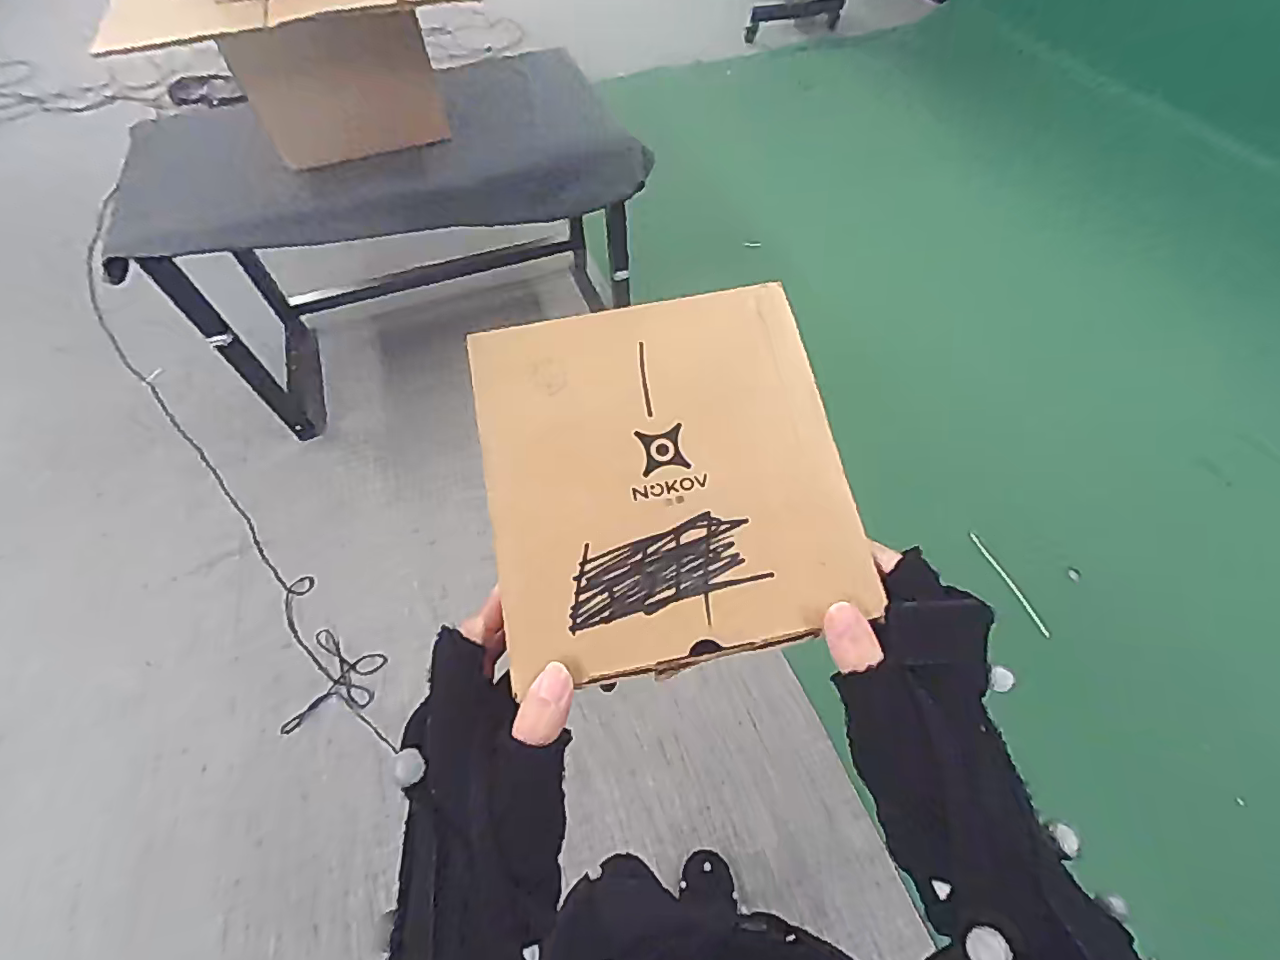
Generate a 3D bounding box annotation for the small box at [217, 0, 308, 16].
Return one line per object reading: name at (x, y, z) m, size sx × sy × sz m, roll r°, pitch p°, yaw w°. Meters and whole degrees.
small box at (-0.772, -1.037, 1.047) m, size 0.168 × 0.176 × 0.179 m, roll -19°, pitch 58°, yaw -9°

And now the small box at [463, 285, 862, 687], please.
small box at (0.005, 0.015, 0.335) m, size 0.168 × 0.176 × 0.179 m, roll -11°, pitch 73°, yaw -4°
